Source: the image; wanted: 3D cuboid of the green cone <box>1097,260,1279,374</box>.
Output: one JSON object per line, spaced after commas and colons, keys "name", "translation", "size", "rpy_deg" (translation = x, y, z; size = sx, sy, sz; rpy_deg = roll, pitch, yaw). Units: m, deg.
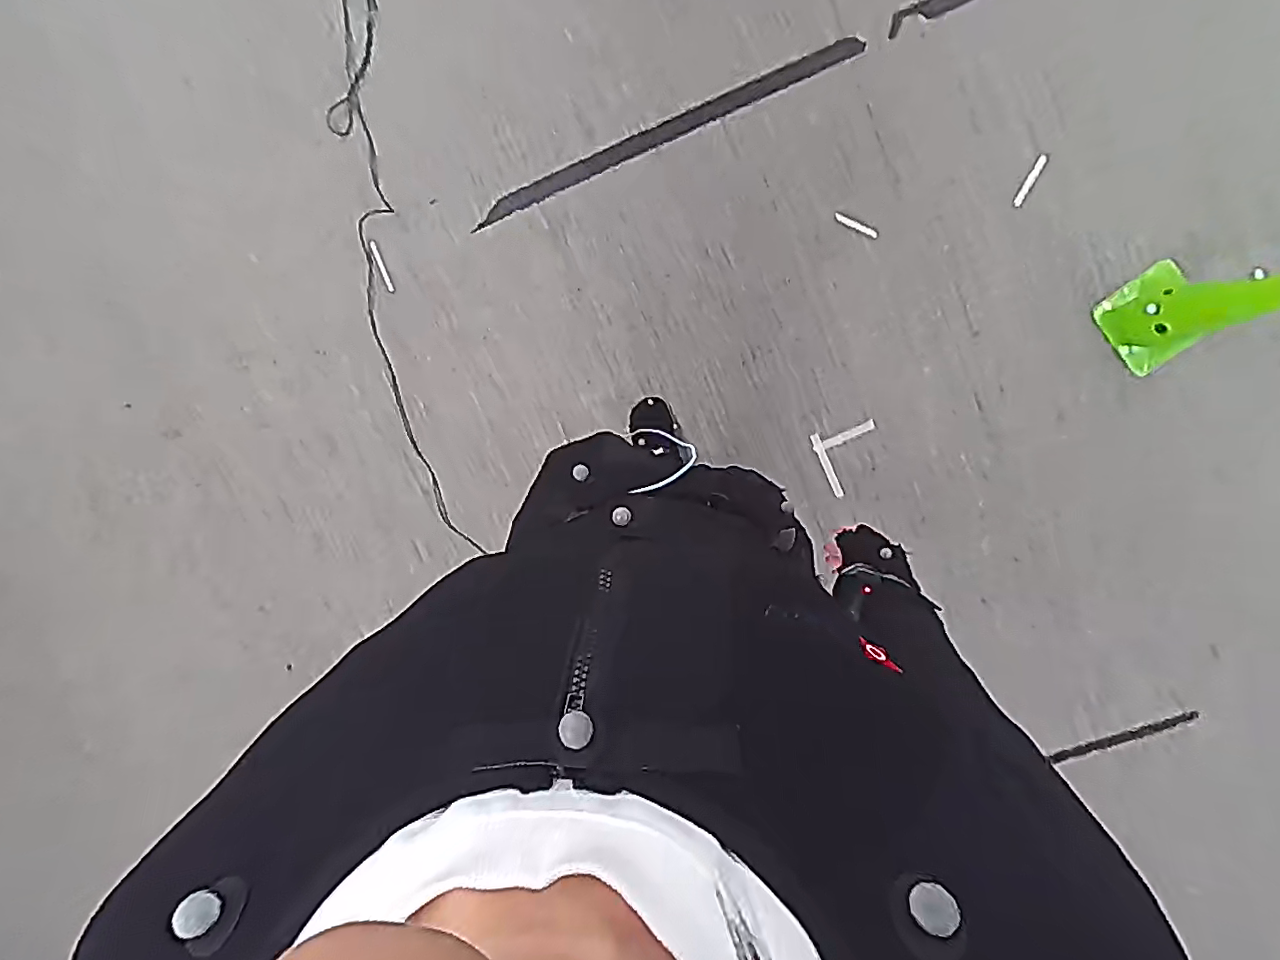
{"name": "green cone", "translation": [1.176, -0.355, 1.082], "size": [0.202, 0.368, 0.200], "rpy_deg": [-37, 91, 10]}
